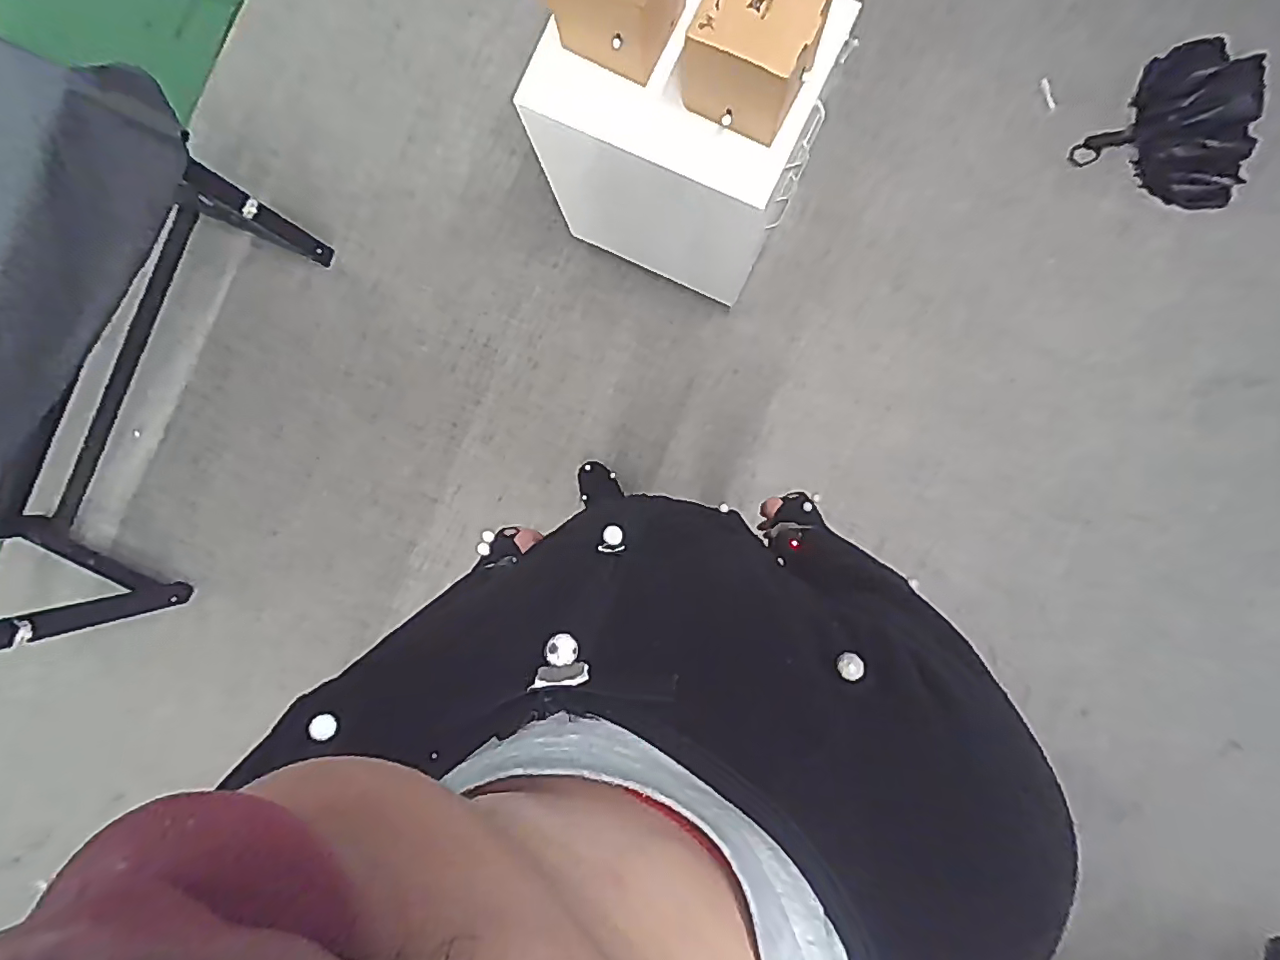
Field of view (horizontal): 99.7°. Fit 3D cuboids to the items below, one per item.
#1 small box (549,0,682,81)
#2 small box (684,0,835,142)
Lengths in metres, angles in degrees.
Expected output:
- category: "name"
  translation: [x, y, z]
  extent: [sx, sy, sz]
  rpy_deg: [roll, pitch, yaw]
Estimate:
- category: "small box"
  translation: [-0.036, -0.812, 0.892]
  extent: [0.179, 0.176, 0.168]
  rpy_deg: [27, 90, 3]
- category: "small box"
  translation: [0.184, -0.694, 0.878]
  extent: [0.179, 0.176, 0.168]
  rpy_deg: [27, 92, 3]
